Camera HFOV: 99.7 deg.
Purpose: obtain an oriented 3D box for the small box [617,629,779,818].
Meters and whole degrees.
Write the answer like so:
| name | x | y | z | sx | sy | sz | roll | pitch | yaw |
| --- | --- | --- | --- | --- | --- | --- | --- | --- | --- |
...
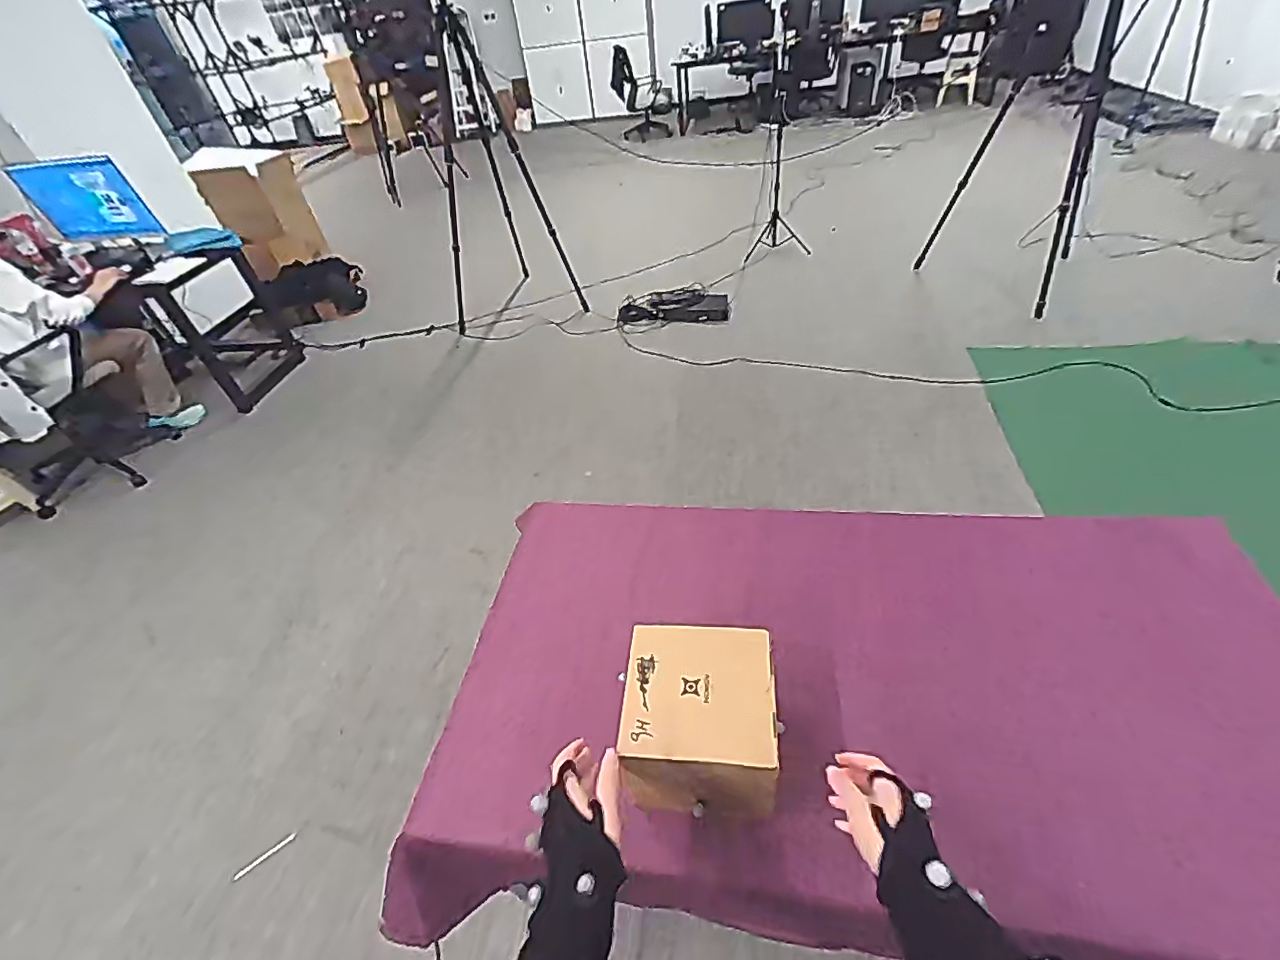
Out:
| name | x | y | z | sx | sy | sz | roll | pitch | yaw |
| --- | --- | --- | --- | --- | --- | --- | --- | --- | --- |
| small box | 0.076 | 0.310 | 0.688 | 0.179 | 0.176 | 0.168 | 0 | 42 | 9 |
